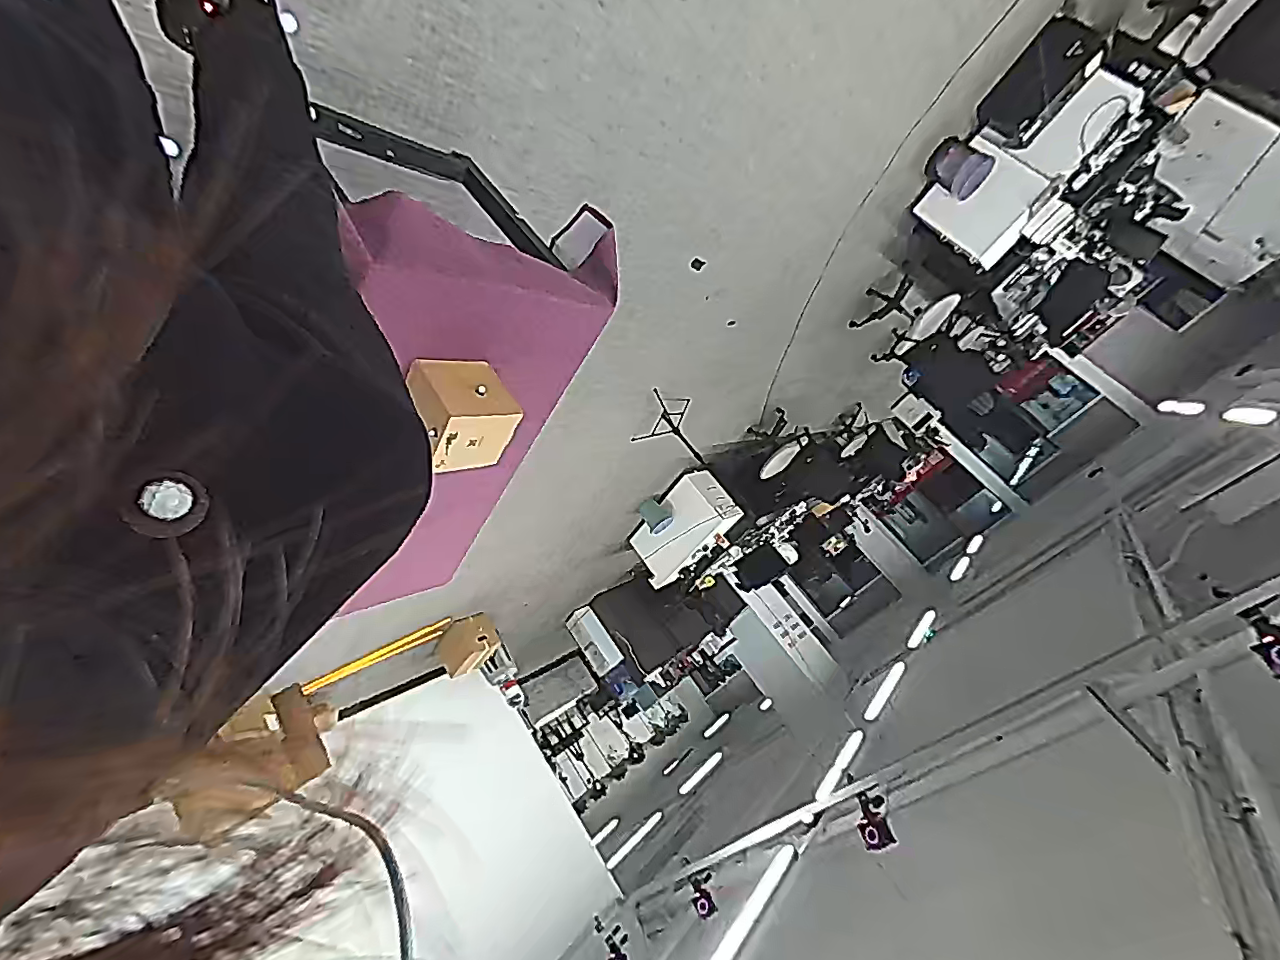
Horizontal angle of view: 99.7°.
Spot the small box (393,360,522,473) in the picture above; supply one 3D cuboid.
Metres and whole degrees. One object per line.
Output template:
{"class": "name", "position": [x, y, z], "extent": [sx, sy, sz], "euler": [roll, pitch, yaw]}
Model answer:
{"class": "small box", "position": [-0.394, -0.140, 1.159], "extent": [0.179, 0.176, 0.168], "euler": [-14, 148, -50]}
